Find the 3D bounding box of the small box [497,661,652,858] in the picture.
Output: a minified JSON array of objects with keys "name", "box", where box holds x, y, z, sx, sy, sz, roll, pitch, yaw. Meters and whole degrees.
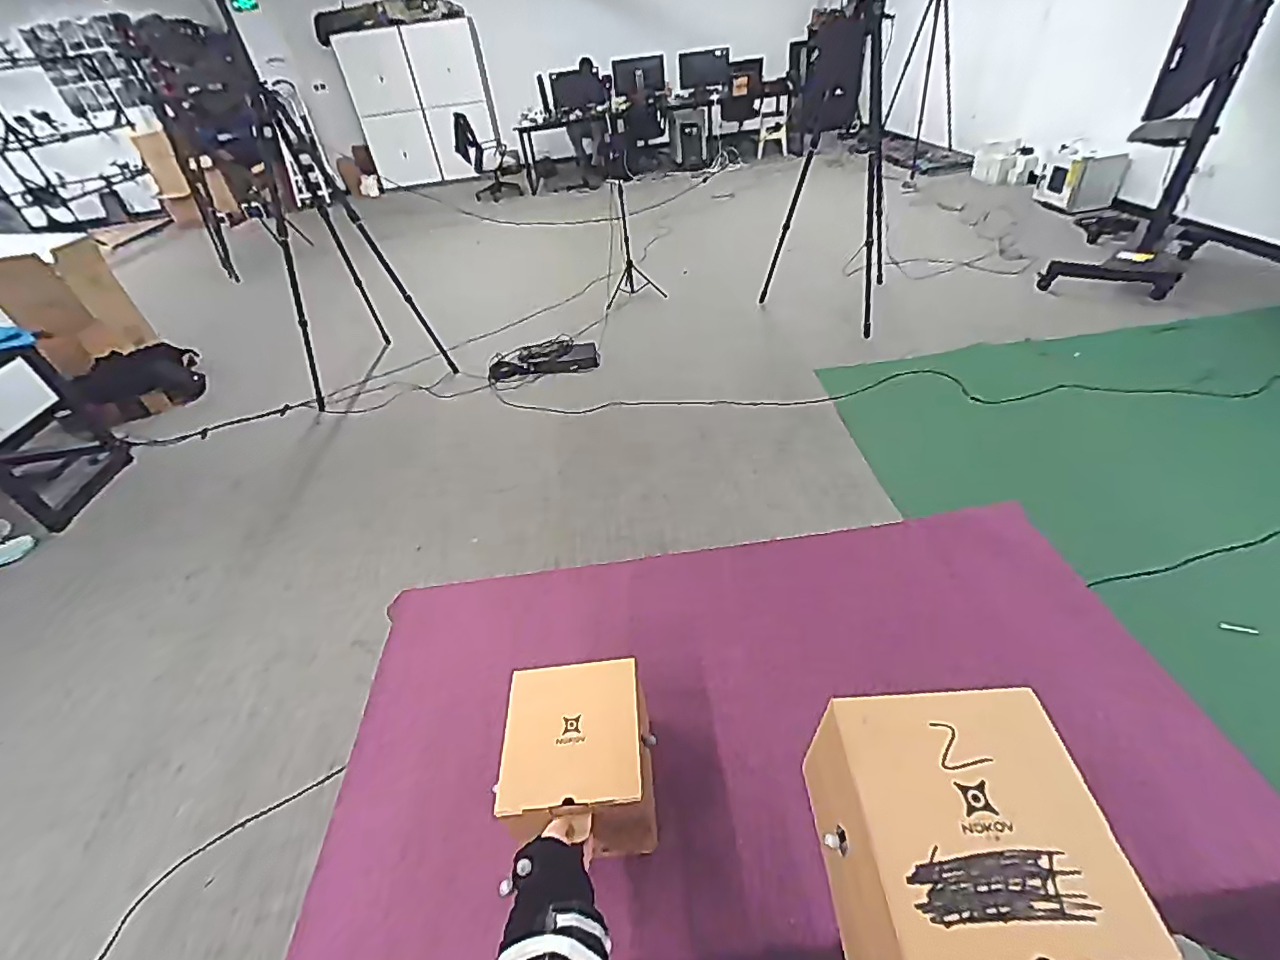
[{"name":"small box","box":[-0.077,0.369,0.719,0.168,0.176,0.179,-7,40,1]}]
